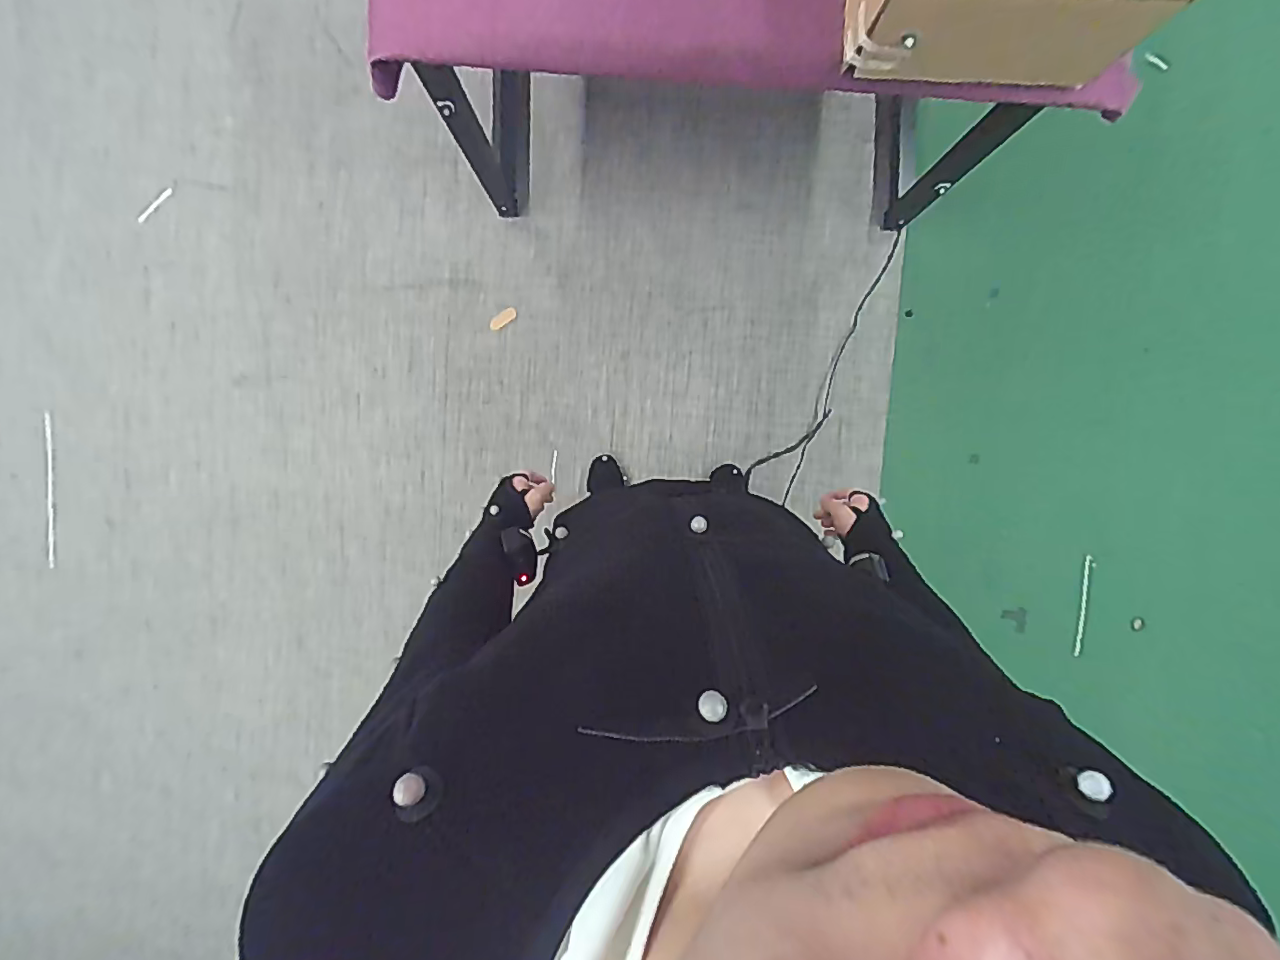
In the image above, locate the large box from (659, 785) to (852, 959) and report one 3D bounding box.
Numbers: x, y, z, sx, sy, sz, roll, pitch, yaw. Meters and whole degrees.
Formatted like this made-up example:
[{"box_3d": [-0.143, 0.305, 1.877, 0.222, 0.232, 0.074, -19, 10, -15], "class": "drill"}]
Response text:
[{"box_3d": [0.303, 1.178, 1.543, 0.408, 0.320, 0.320, -30, 94, 0], "class": "large box"}]
